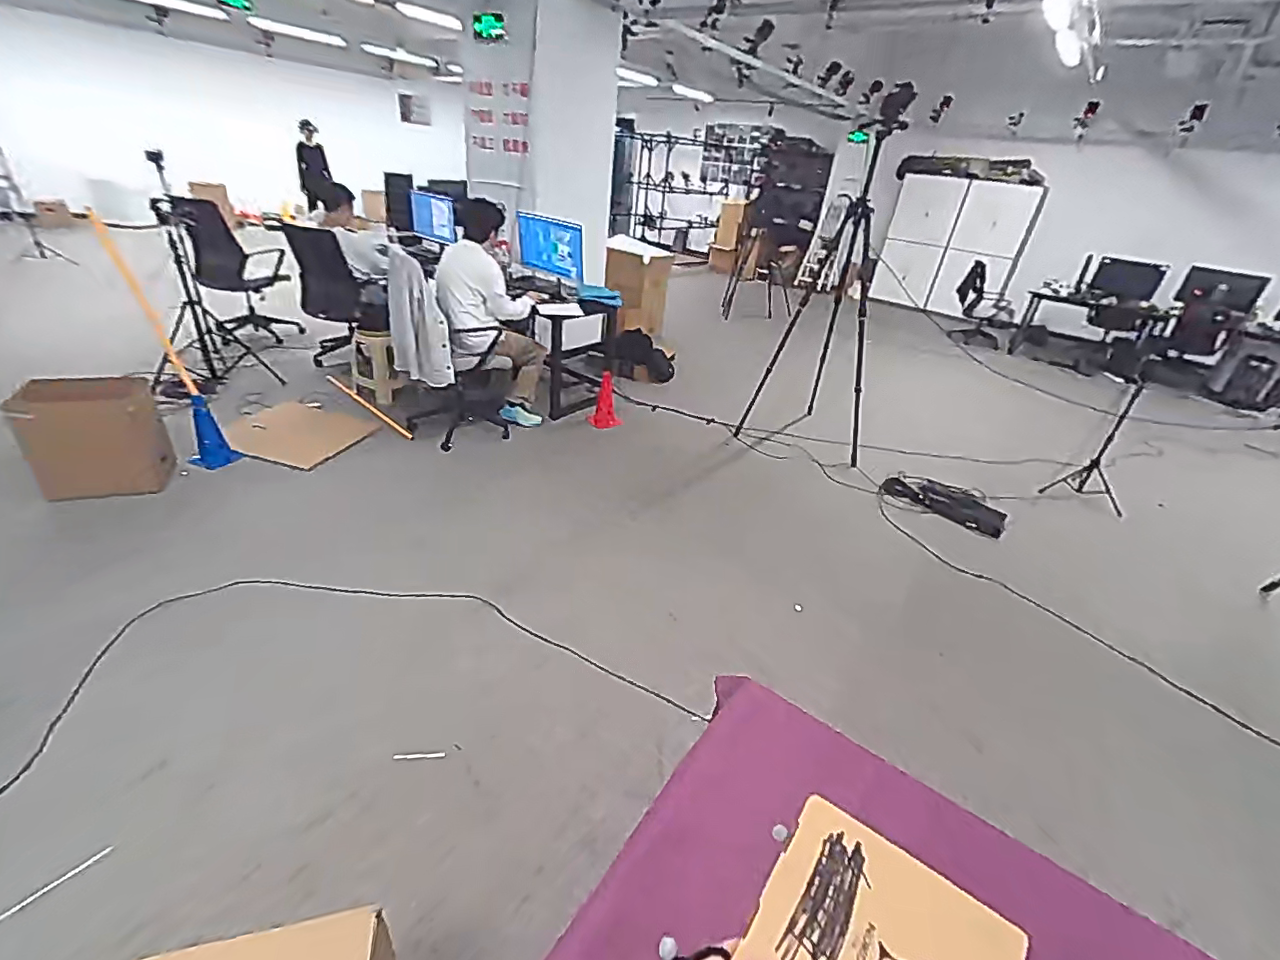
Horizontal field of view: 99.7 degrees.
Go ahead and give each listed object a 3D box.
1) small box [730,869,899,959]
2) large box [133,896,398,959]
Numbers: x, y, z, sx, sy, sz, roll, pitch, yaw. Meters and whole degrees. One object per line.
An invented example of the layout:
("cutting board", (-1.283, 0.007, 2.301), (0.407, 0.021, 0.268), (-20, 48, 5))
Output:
("small box", (0.171, 0.565, 0.549), (0.179, 0.176, 0.168), (27, 37, 32))
("large box", (-0.659, 1.013, 0.931), (0.408, 0.320, 0.320), (-2, 32, -16))
